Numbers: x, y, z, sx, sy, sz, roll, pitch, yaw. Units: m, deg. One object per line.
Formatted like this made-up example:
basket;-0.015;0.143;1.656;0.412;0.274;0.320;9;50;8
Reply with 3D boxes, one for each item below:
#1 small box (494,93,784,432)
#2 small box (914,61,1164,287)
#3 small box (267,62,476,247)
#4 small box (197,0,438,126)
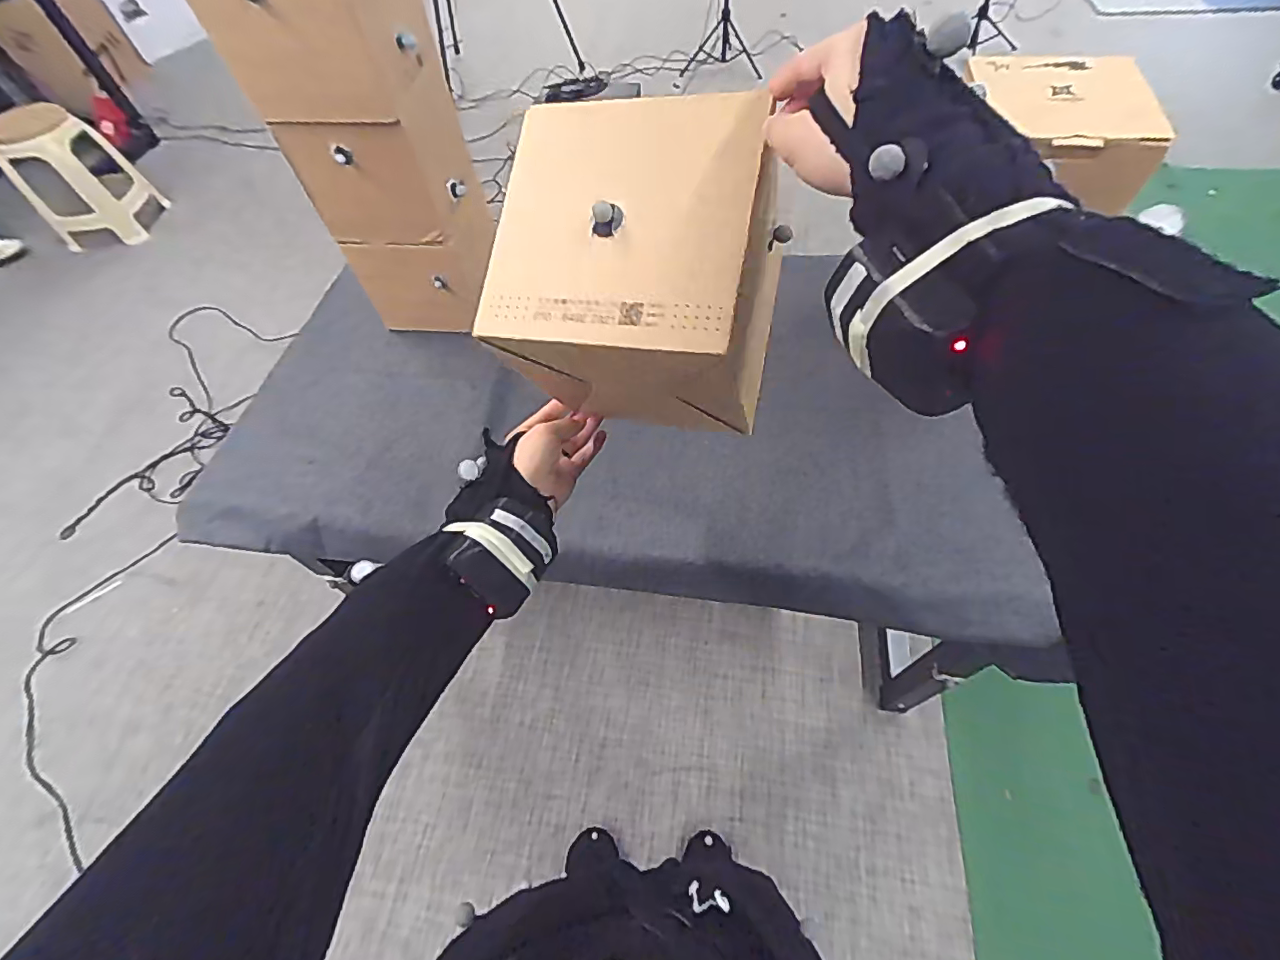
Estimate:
small box;0.009;-0.142;0.408;0.168;0.179;0.176;10;82;18
small box;0.435;-0.349;0.628;0.168;0.176;0.179;8;60;9
small box;-0.351;-0.444;0.747;0.179;0.176;0.168;3;60;4
small box;-0.358;-0.523;0.602;0.179;0.176;0.168;5;60;6
